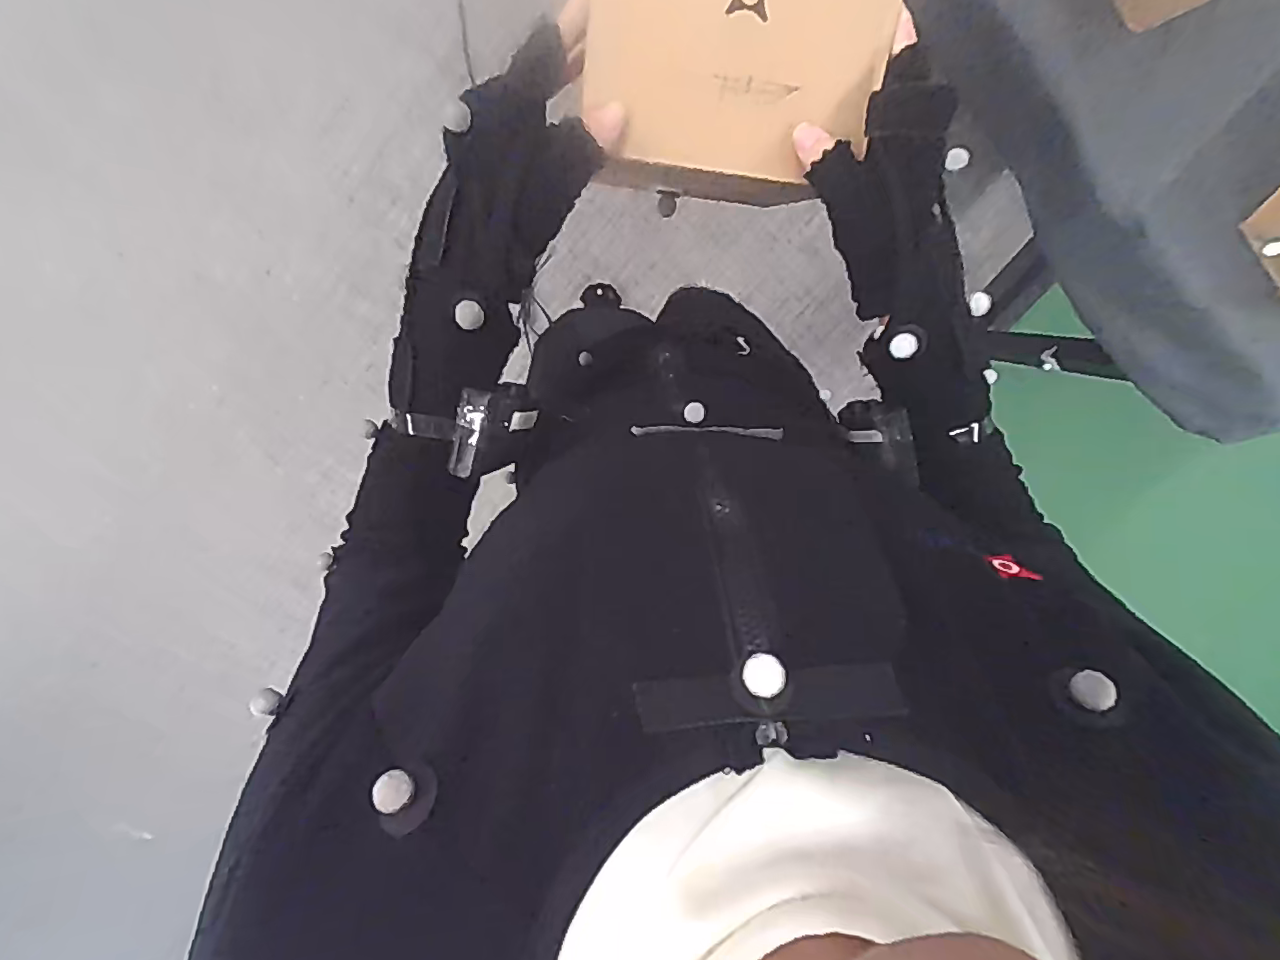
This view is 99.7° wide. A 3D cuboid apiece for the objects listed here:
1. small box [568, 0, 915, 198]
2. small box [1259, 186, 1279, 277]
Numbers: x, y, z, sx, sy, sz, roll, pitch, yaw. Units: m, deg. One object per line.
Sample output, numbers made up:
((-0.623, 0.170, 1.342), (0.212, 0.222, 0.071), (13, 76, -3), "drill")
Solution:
((0.050, -0.286, 0.326), (0.168, 0.176, 0.179), (7, 113, -7), "small box")
((0.829, -0.291, 0.568), (0.168, 0.176, 0.179), (39, 100, -16), "small box")
